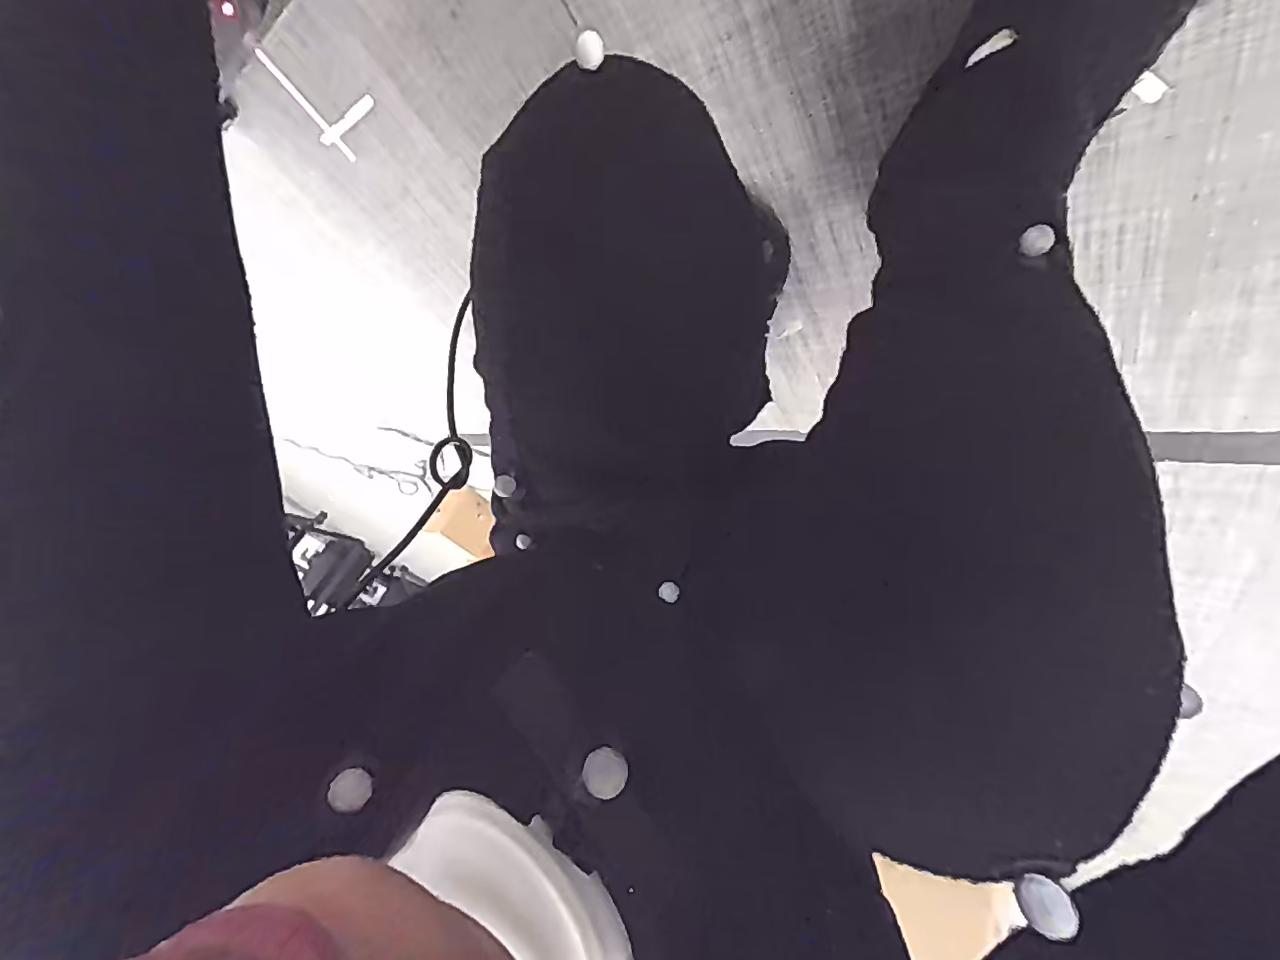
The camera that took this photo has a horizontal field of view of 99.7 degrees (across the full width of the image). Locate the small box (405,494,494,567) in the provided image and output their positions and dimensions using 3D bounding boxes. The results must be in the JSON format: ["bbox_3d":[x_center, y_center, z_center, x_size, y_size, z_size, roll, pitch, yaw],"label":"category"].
[{"bbox_3d":[-0.603,0.157,1.731,0.179,0.176,0.168,1,145,40],"label":"small box"}]
